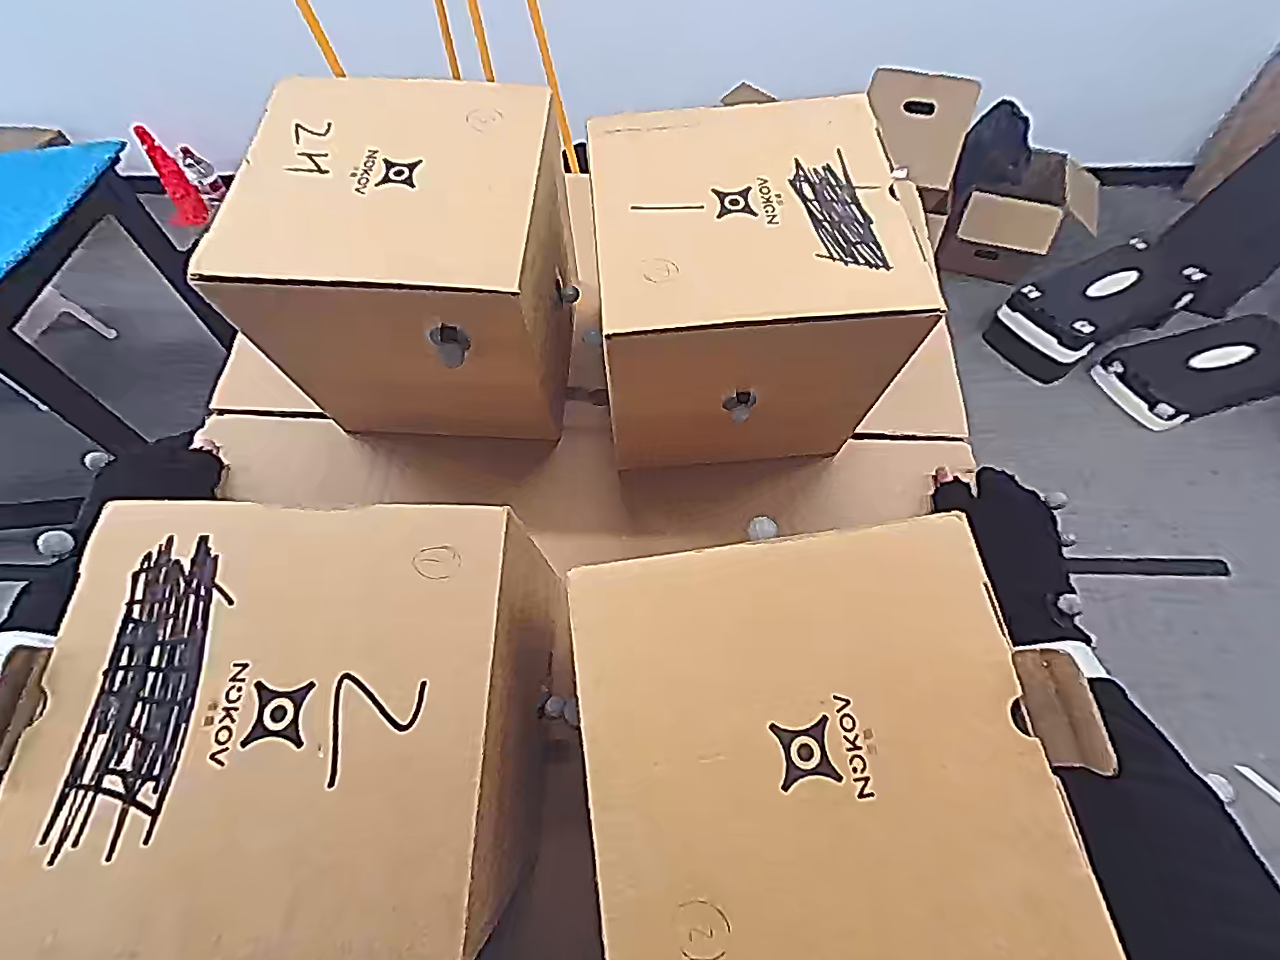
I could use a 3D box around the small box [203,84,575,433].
[{"bbox_3d":[-0.147,-0.146,0.395,0.179,0.176,0.168,3,66,1],"label":"small box"}]
